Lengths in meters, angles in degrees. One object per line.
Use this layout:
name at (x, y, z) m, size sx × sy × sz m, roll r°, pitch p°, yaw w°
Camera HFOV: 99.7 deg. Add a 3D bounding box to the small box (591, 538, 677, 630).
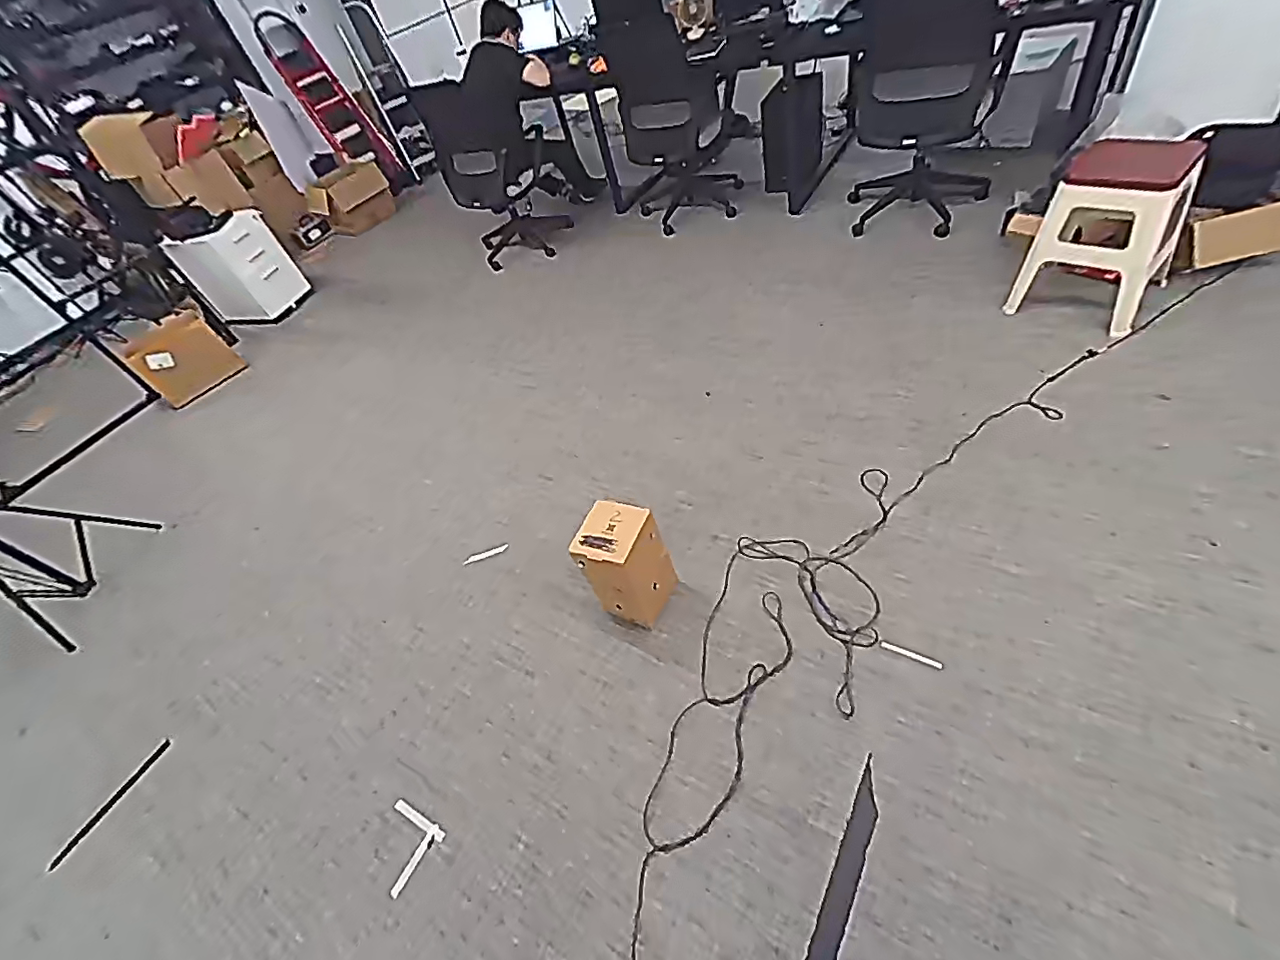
small box at (-0.008, 0.301, 1.550) m, size 0.168 × 0.176 × 0.179 m, roll 14°, pitch 55°, yaw 29°
